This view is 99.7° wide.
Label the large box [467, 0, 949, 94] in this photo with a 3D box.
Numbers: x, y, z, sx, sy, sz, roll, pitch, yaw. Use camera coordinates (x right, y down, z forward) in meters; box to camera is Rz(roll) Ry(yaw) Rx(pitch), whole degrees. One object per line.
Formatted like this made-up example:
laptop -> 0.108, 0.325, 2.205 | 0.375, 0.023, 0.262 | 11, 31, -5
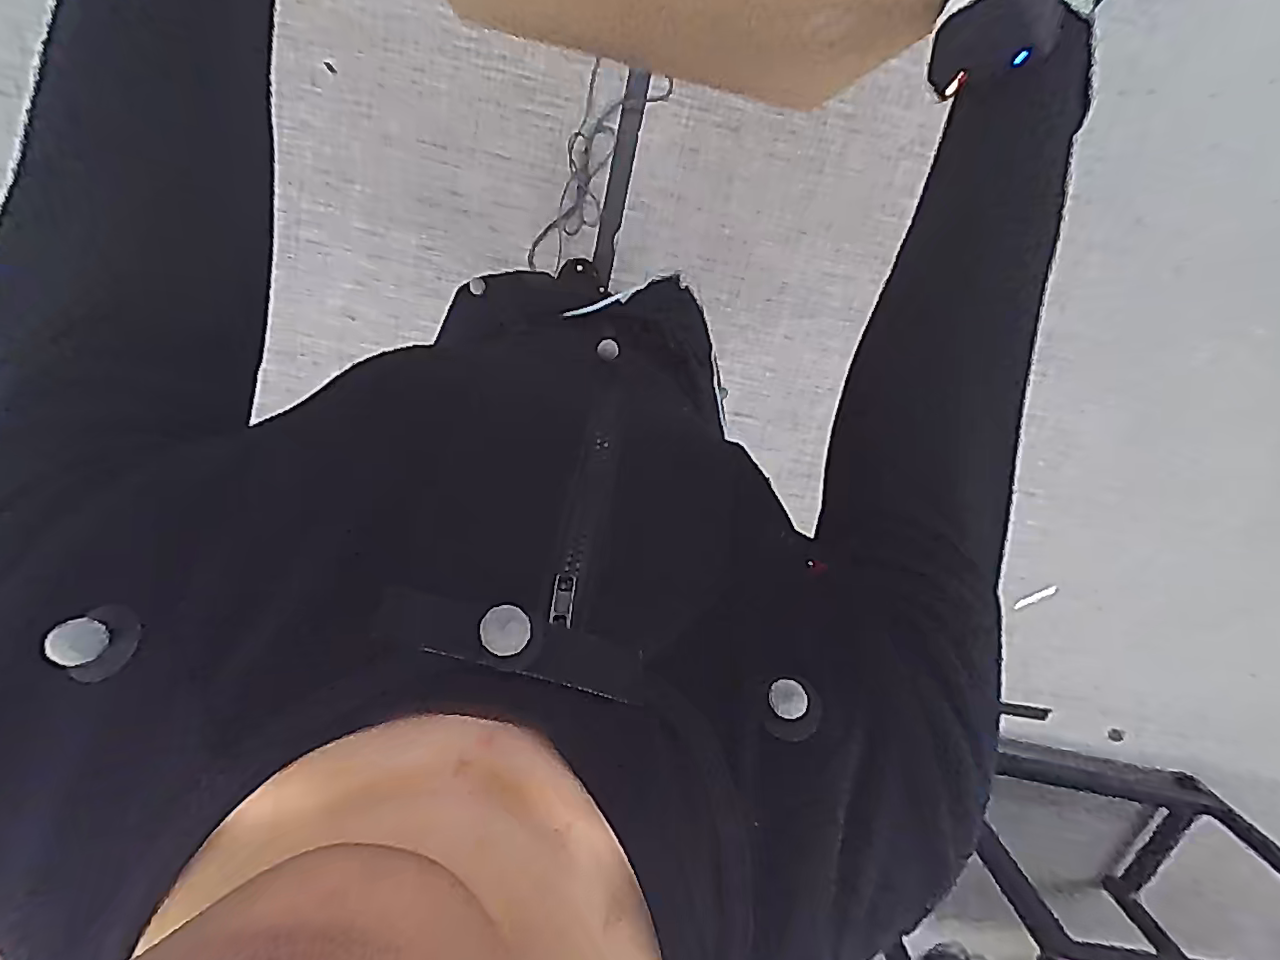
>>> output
large box -> 0.042, -0.548, 0.407 | 0.408, 0.320, 0.320 | 10, 115, -7
